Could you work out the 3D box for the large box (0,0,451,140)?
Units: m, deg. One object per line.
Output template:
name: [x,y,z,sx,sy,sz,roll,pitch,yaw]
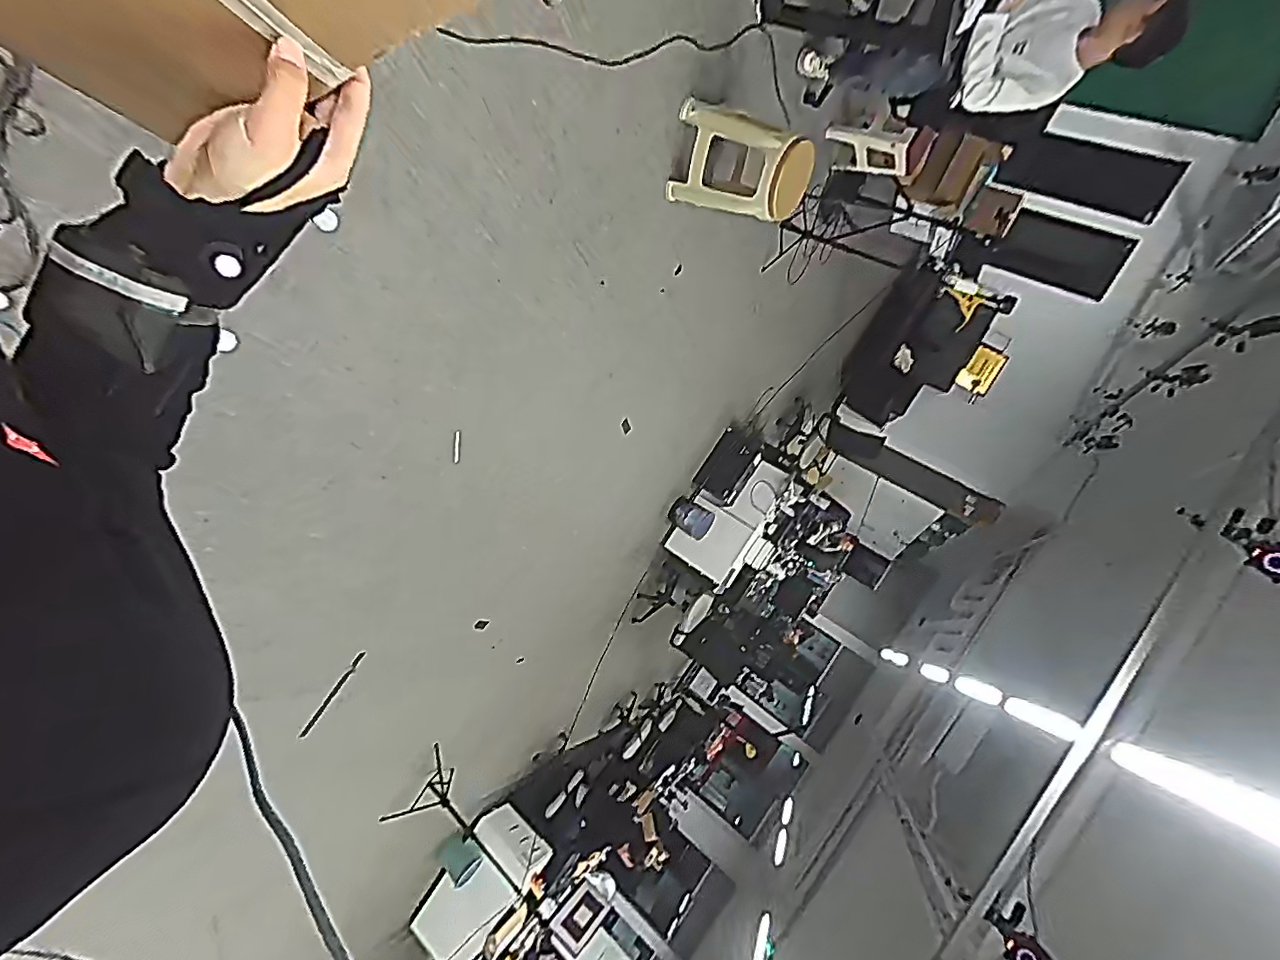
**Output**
large box: [-0.266,-0.416,0.159,0.408,0.320,0.320,14,76,-64]
